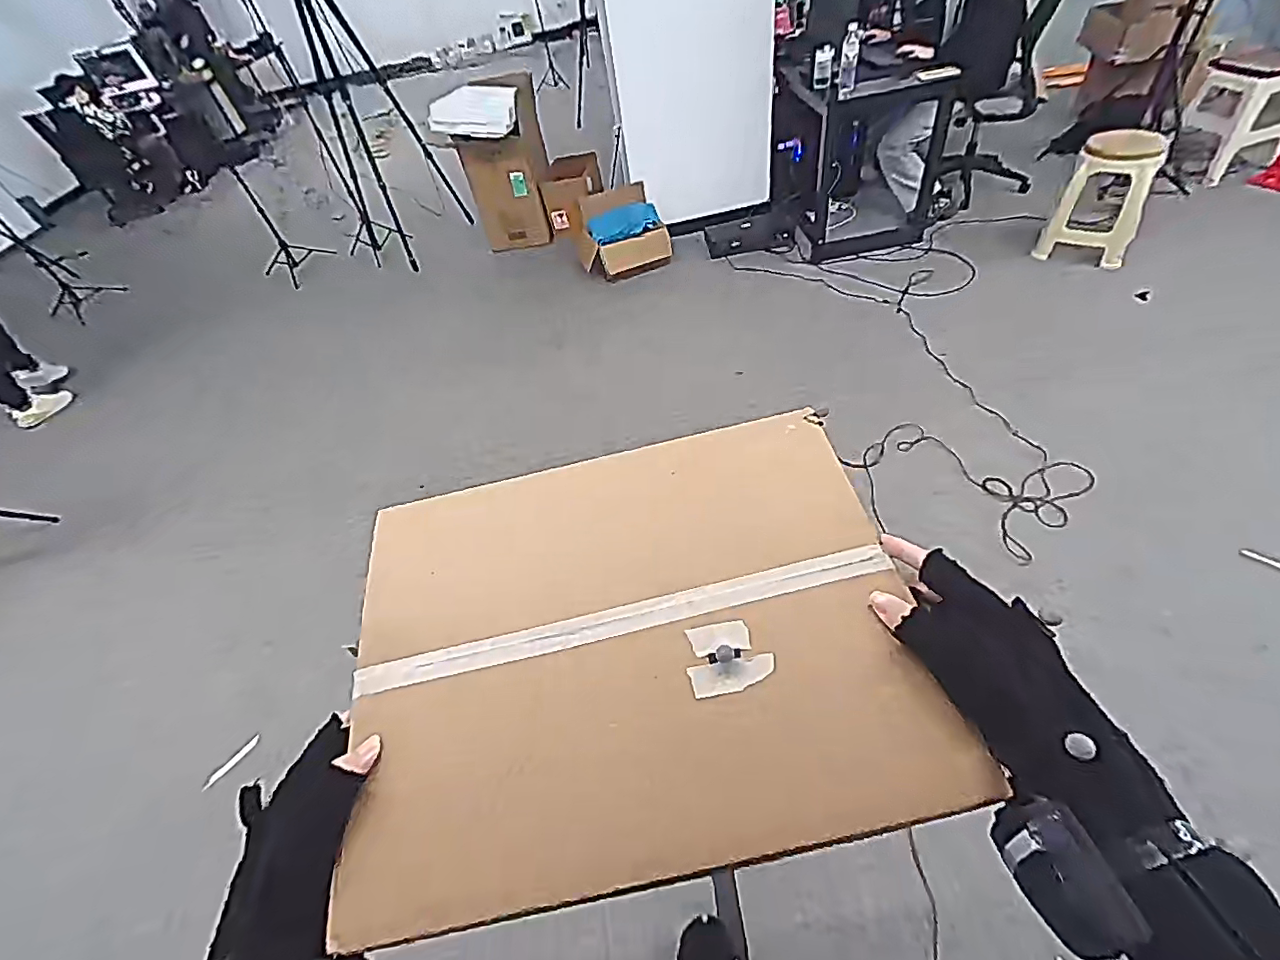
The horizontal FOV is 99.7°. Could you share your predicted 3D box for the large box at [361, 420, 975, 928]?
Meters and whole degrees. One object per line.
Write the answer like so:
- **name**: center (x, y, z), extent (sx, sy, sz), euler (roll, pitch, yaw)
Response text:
- **large box**: center (0.009, 0.194, 0.540), extent (0.408, 0.320, 0.320), euler (-13, 54, 0)
